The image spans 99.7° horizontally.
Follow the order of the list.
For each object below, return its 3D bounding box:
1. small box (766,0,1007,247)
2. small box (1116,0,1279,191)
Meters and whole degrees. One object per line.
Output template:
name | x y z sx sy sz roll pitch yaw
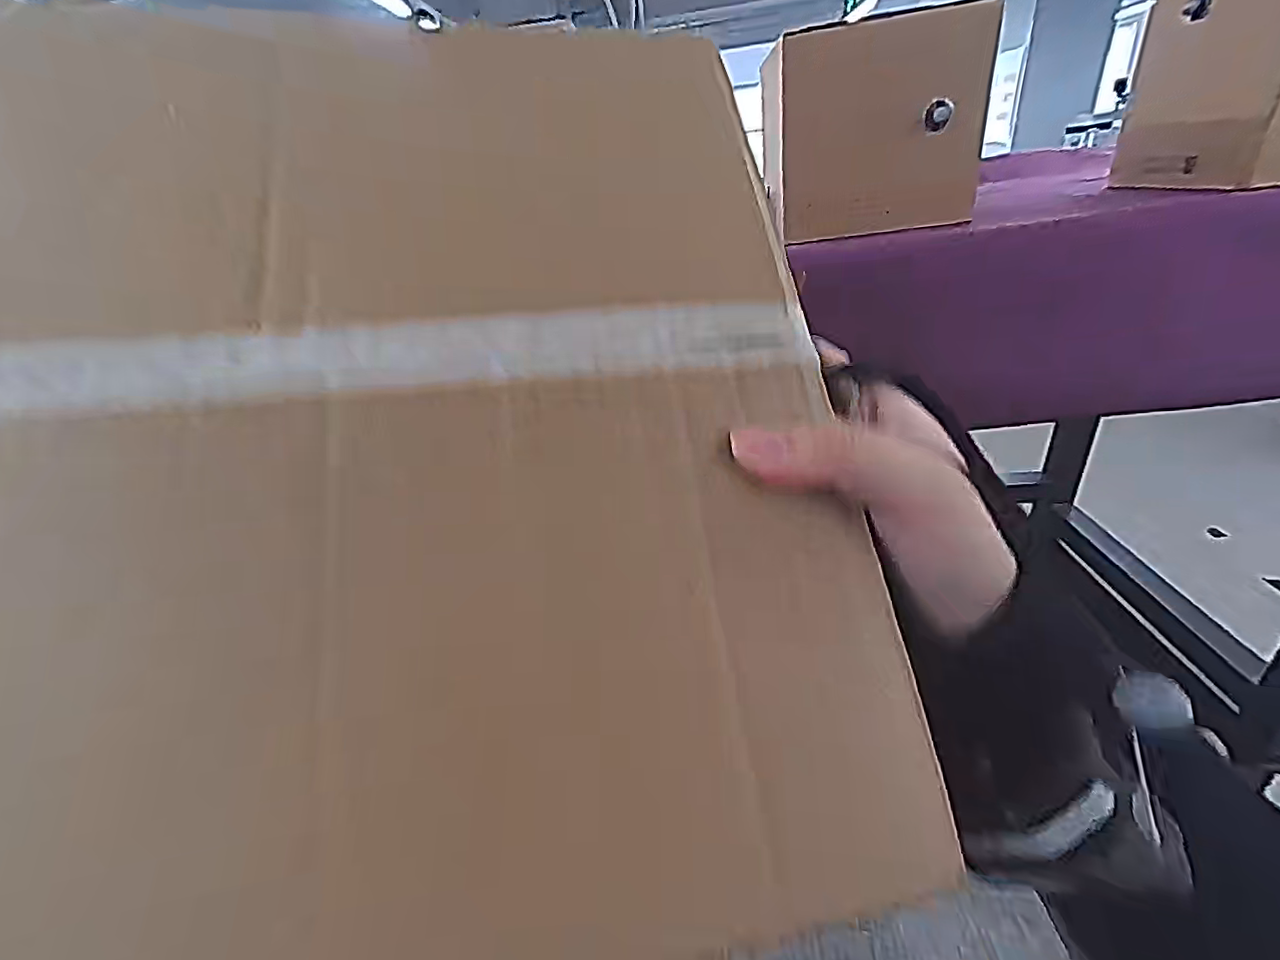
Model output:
small box | 0.223 -0.344 0.545 0.179 0.176 0.168 -4 28 8
small box | 0.581 -0.361 0.473 0.179 0.176 0.168 -5 28 6
